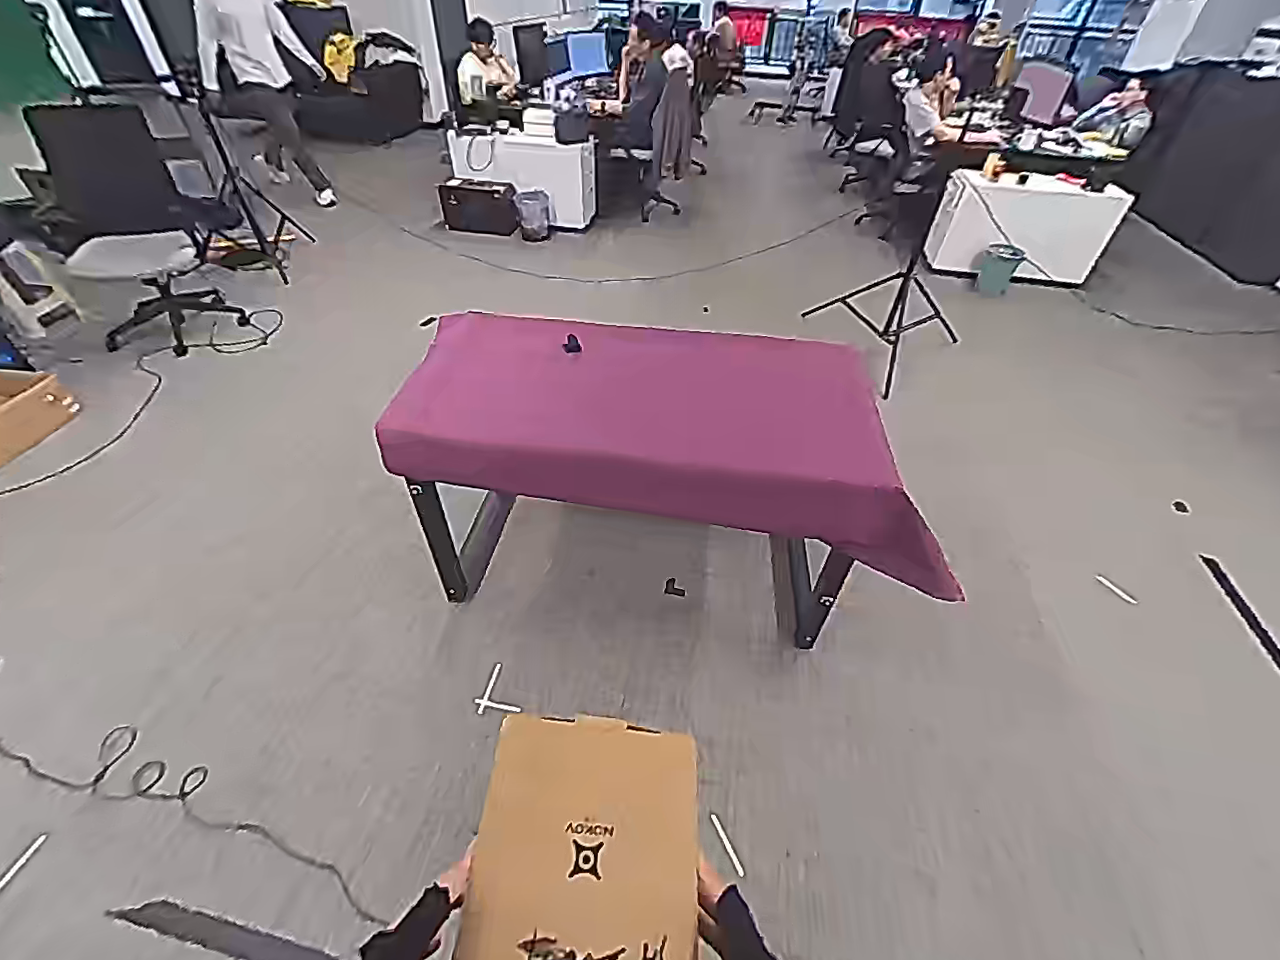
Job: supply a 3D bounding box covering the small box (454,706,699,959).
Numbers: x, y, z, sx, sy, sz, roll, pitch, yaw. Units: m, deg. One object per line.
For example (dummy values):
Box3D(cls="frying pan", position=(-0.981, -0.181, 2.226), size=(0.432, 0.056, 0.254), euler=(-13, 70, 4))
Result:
Box3D(cls="small box", position=(-0.051, 0.319, 0.463), size=(0.168, 0.176, 0.179), euler=(9, 47, -6))
